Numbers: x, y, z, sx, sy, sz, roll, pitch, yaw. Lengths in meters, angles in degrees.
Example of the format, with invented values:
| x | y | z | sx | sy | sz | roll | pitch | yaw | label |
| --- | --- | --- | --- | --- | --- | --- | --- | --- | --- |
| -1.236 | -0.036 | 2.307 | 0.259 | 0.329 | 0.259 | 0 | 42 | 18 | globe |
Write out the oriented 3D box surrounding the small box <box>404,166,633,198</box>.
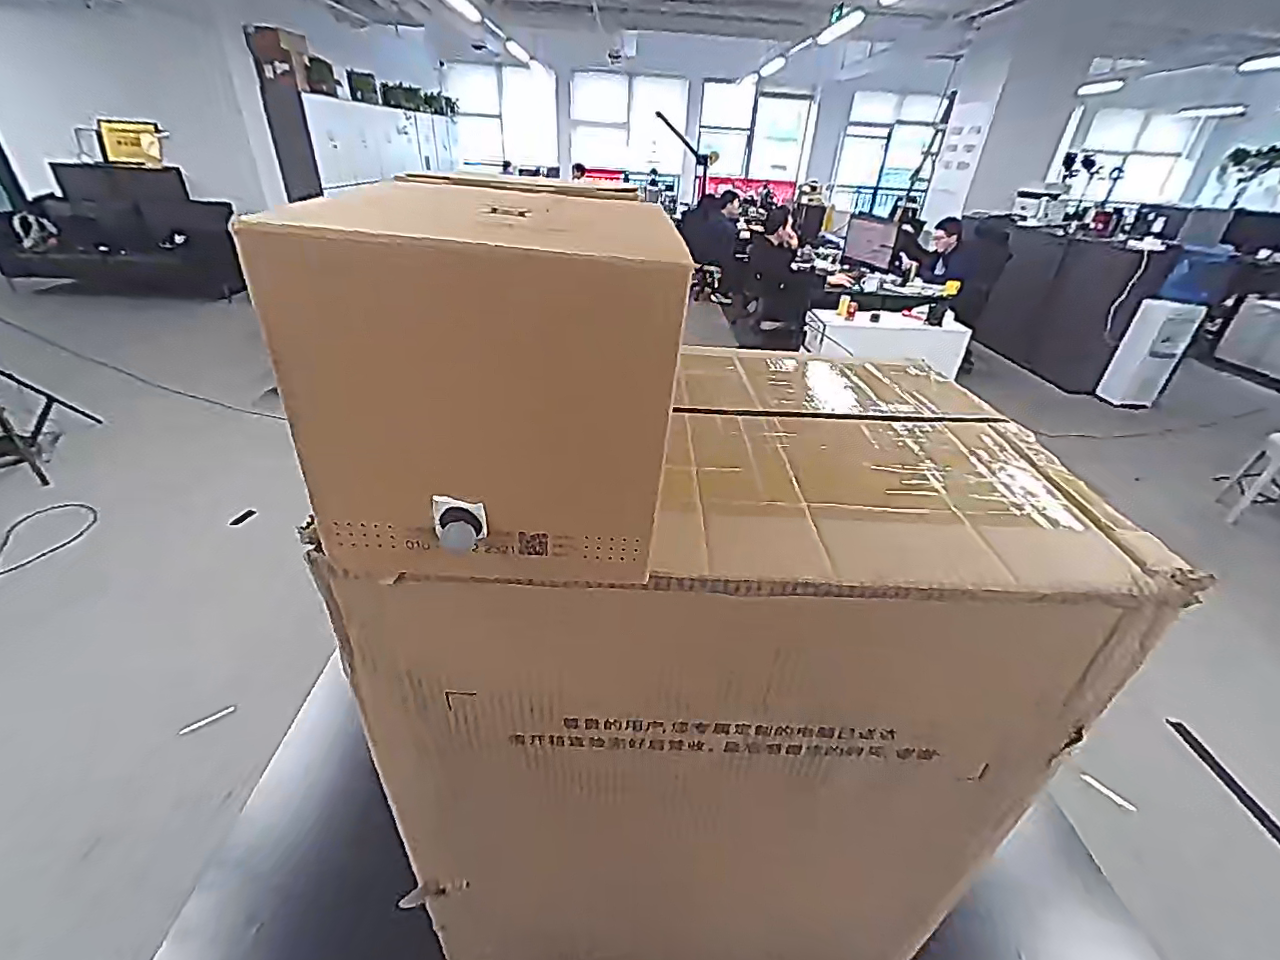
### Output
| x | y | z | sx | sy | sz | roll | pitch | yaw | label |
| --- | --- | --- | --- | --- | --- | --- | --- | --- | --- |
| -0.094 | -0.180 | 0.492 | 0.168 | 0.176 | 0.179 | 2 | 30 | -4 | small box |

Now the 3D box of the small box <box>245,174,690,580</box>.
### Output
| x | y | z | sx | sy | sz | roll | pitch | yaw | label |
| --- | --- | --- | --- | --- | --- | --- | --- | --- | --- |
| -0.073 | -0.066 | 0.311 | 0.168 | 0.176 | 0.179 | 2 | 34 | -5 | small box |
